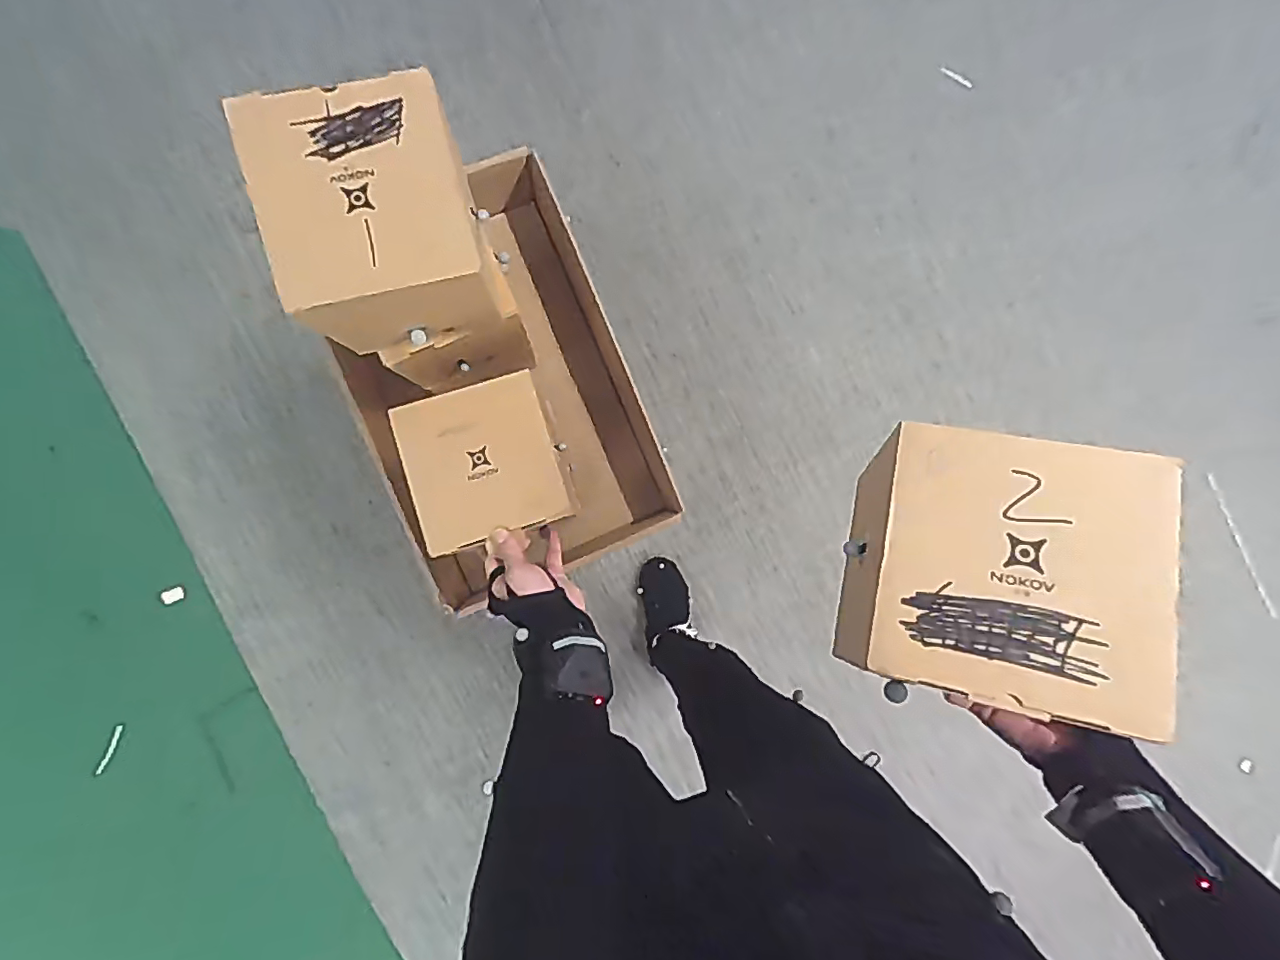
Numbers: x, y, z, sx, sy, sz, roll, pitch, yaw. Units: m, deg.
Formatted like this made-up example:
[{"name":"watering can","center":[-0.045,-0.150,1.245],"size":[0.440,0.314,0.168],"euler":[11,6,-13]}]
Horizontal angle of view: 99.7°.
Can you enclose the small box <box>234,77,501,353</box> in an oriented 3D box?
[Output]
[{"name":"small box","center":[-0.246,-0.242,0.533],"size":[0.168,0.176,0.179],"euler":[-14,93,-7]}]

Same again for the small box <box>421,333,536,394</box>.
[{"name":"small box","center":[-0.277,-0.243,0.858],"size":[0.168,0.176,0.179],"euler":[-24,93,-5]}]

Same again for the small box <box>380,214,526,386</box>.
[{"name":"small box","center":[-0.259,-0.241,0.697],"size":[0.168,0.176,0.179],"euler":[-24,94,-7]}]

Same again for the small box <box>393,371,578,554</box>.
[{"name":"small box","center":[-0.182,-0.015,0.690],"size":[0.168,0.176,0.179],"euler":[-17,85,-5]}]
